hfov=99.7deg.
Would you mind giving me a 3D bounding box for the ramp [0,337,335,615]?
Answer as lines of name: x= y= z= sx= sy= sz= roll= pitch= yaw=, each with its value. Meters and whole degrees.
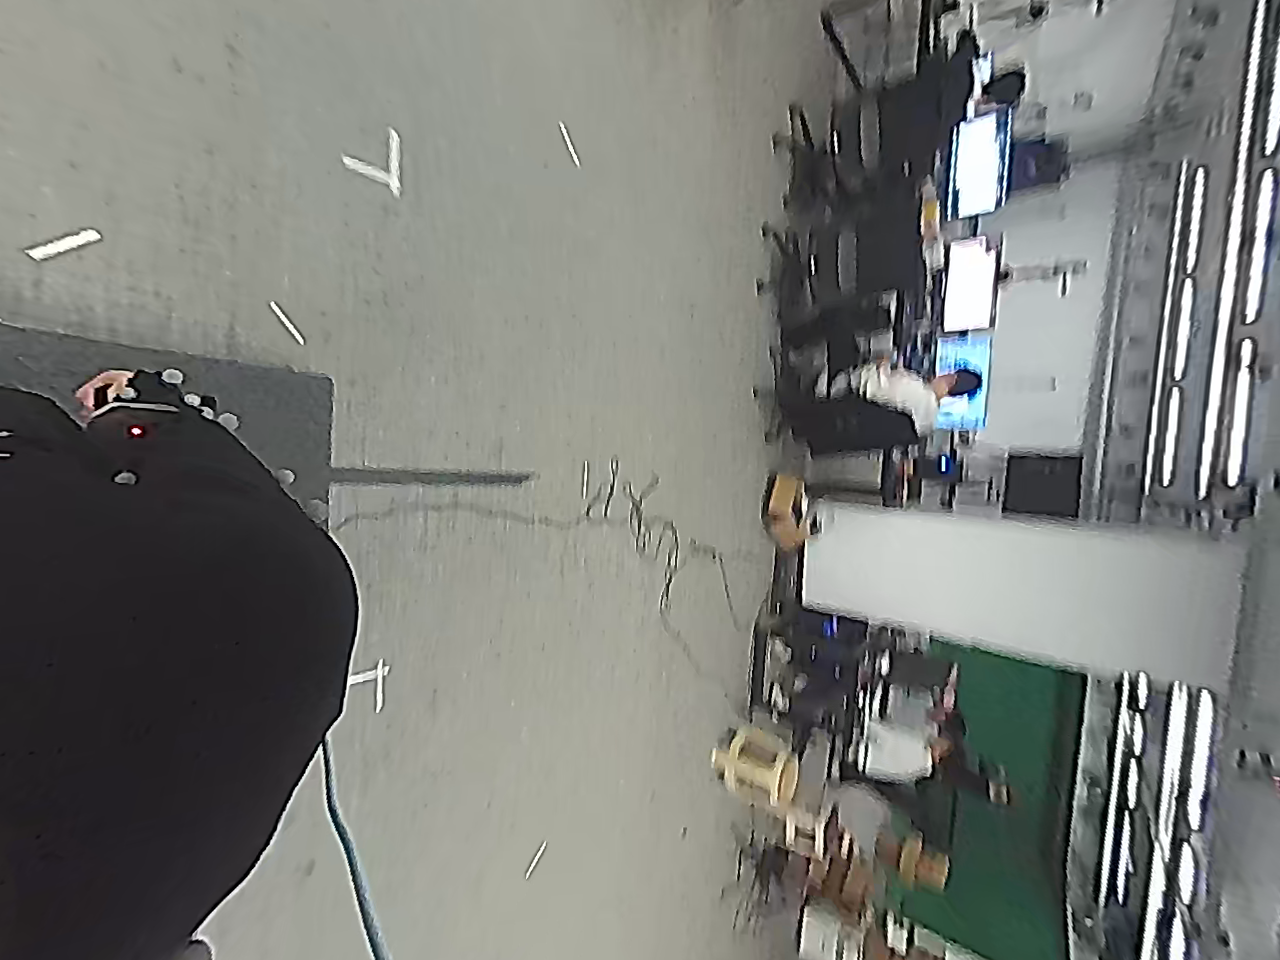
ramp: x=-1.066 y=-0.010 z=1.046 sx=0.991 sy=0.206 sz=0.509 roll=-4 pitch=96 yaw=-53
